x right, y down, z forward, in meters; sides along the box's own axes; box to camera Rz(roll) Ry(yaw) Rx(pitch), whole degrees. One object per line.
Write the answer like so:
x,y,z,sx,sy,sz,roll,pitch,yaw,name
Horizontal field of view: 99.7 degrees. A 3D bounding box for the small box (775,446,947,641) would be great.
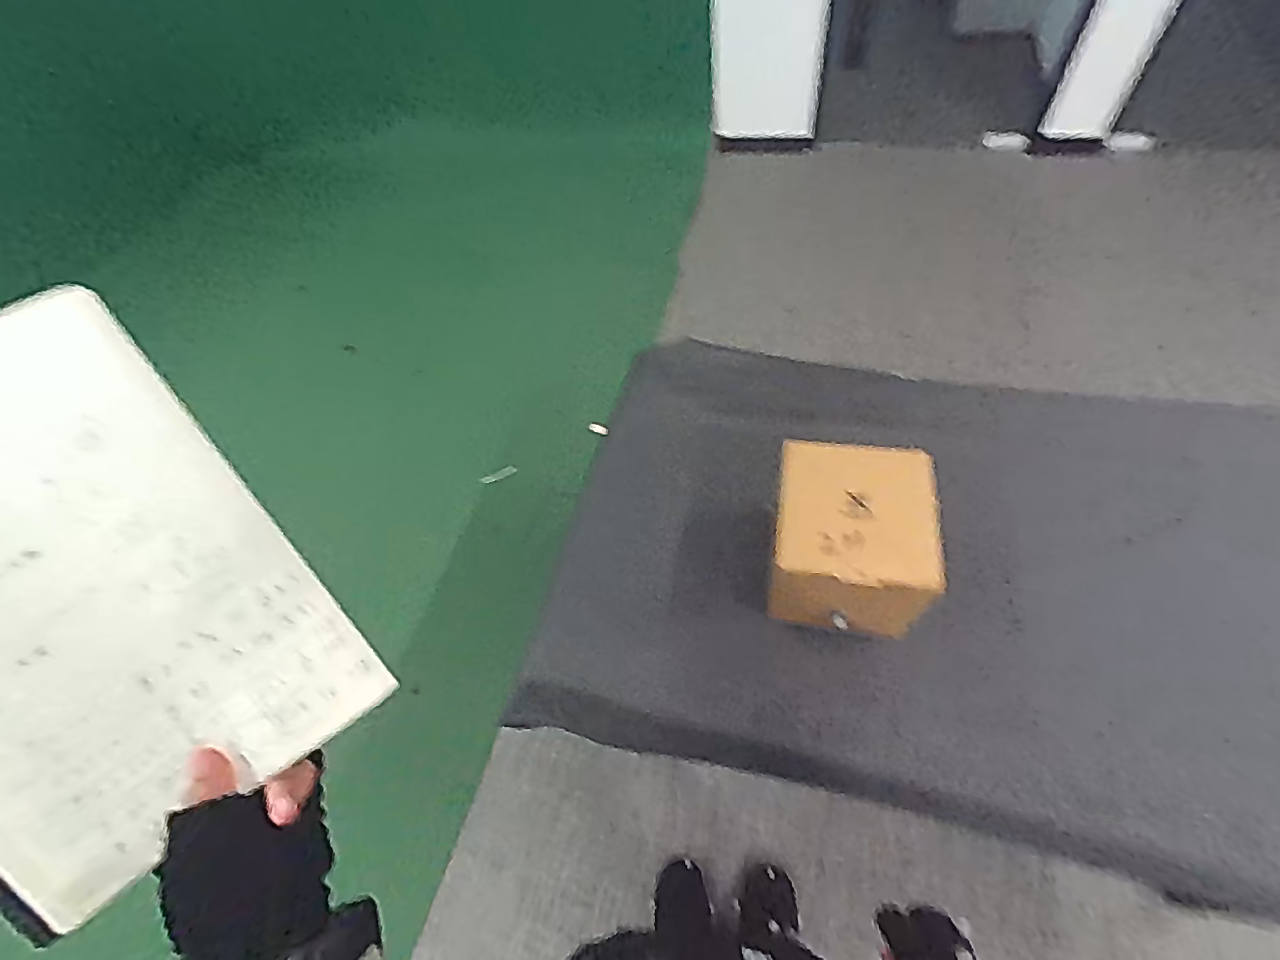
0.262,0.081,0.678,0.168,0.176,0.179,5,57,13,small box
